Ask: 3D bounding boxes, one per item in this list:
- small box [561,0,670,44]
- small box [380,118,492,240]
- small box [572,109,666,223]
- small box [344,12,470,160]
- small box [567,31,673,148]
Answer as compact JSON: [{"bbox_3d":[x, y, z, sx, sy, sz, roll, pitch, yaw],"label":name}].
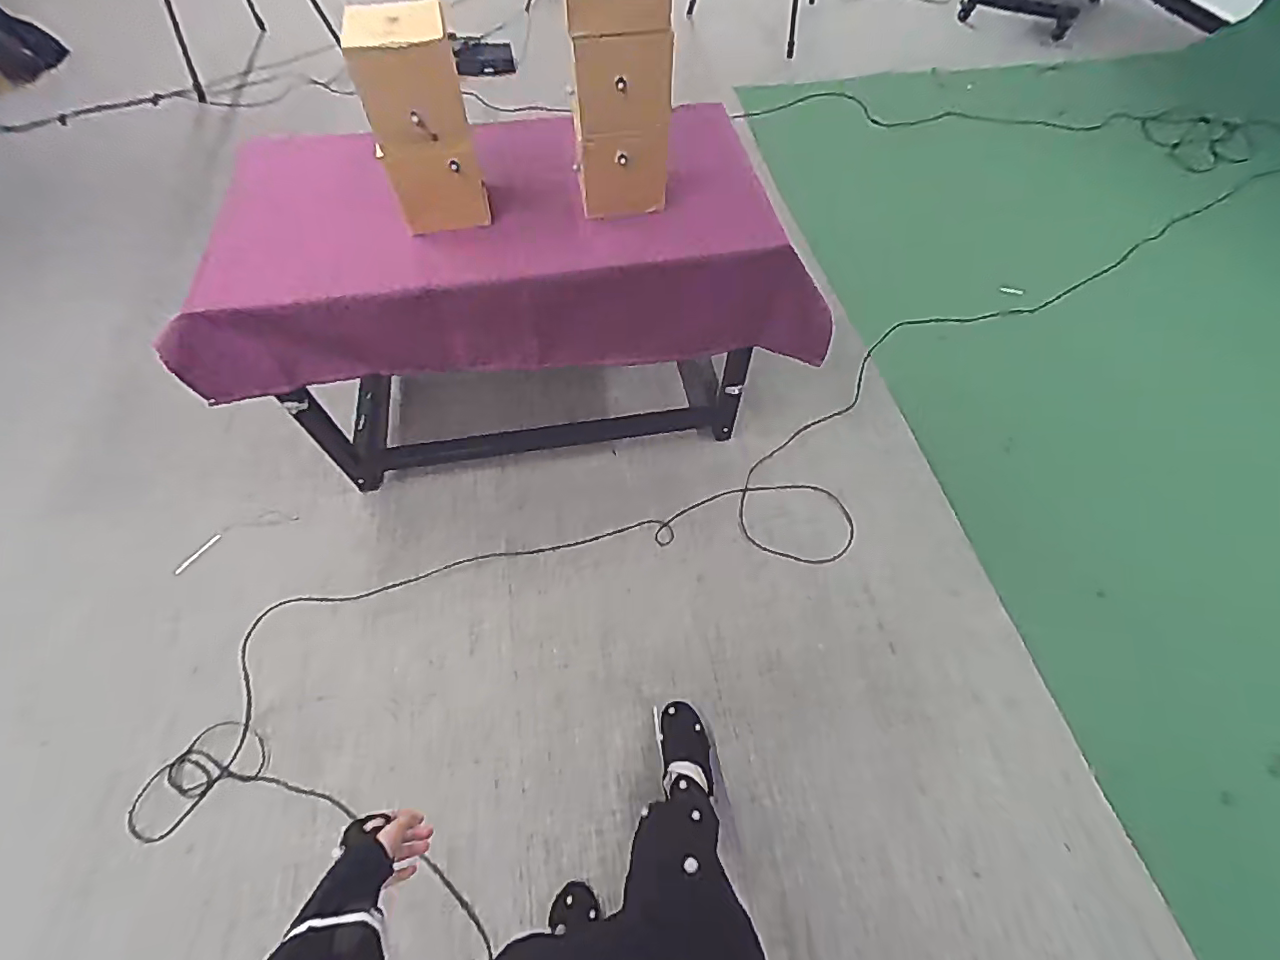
[{"bbox_3d":[-0.048,-0.842,0.877,0.179,0.176,0.168,-9,61,-4],"label":"small box"},{"bbox_3d":[-0.424,-0.630,1.136,0.179,0.176,0.168,-11,59,-7],"label":"small box"},{"bbox_3d":[-0.044,-0.676,1.160,0.179,0.176,0.168,-8,60,-5],"label":"small box"},{"bbox_3d":[-0.422,-0.725,1.001,0.168,0.176,0.179,-12,59,-7],"label":"small box"},{"bbox_3d":[-0.040,-0.759,1.019,0.179,0.176,0.168,-8,60,-4],"label":"small box"}]
